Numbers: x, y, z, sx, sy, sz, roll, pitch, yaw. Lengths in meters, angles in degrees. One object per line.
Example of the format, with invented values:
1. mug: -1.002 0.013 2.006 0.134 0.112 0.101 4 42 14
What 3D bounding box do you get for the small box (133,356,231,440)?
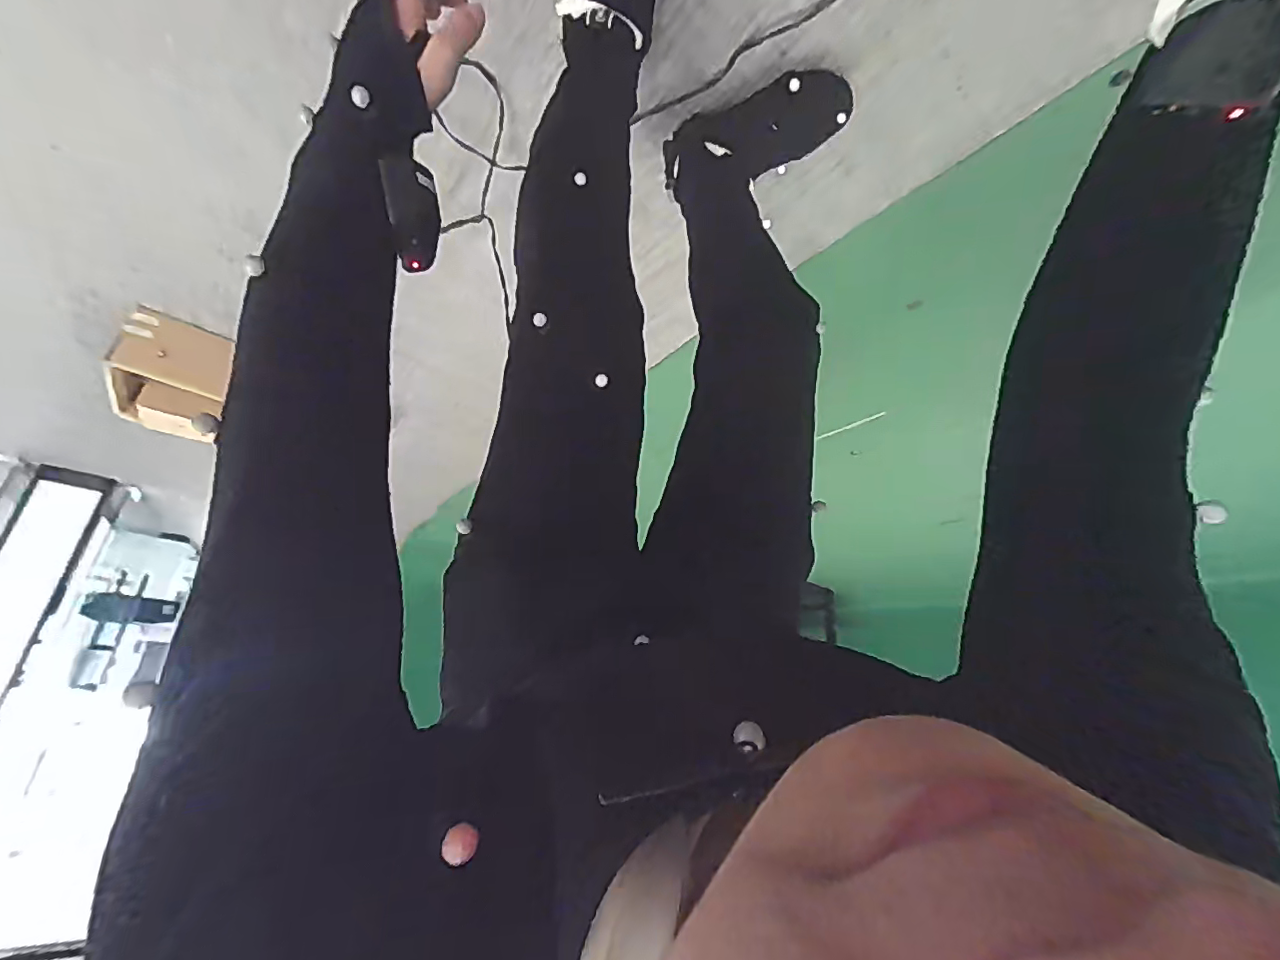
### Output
1. small box: -1.360 -0.246 1.616 0.179 0.176 0.168 19 153 -30
